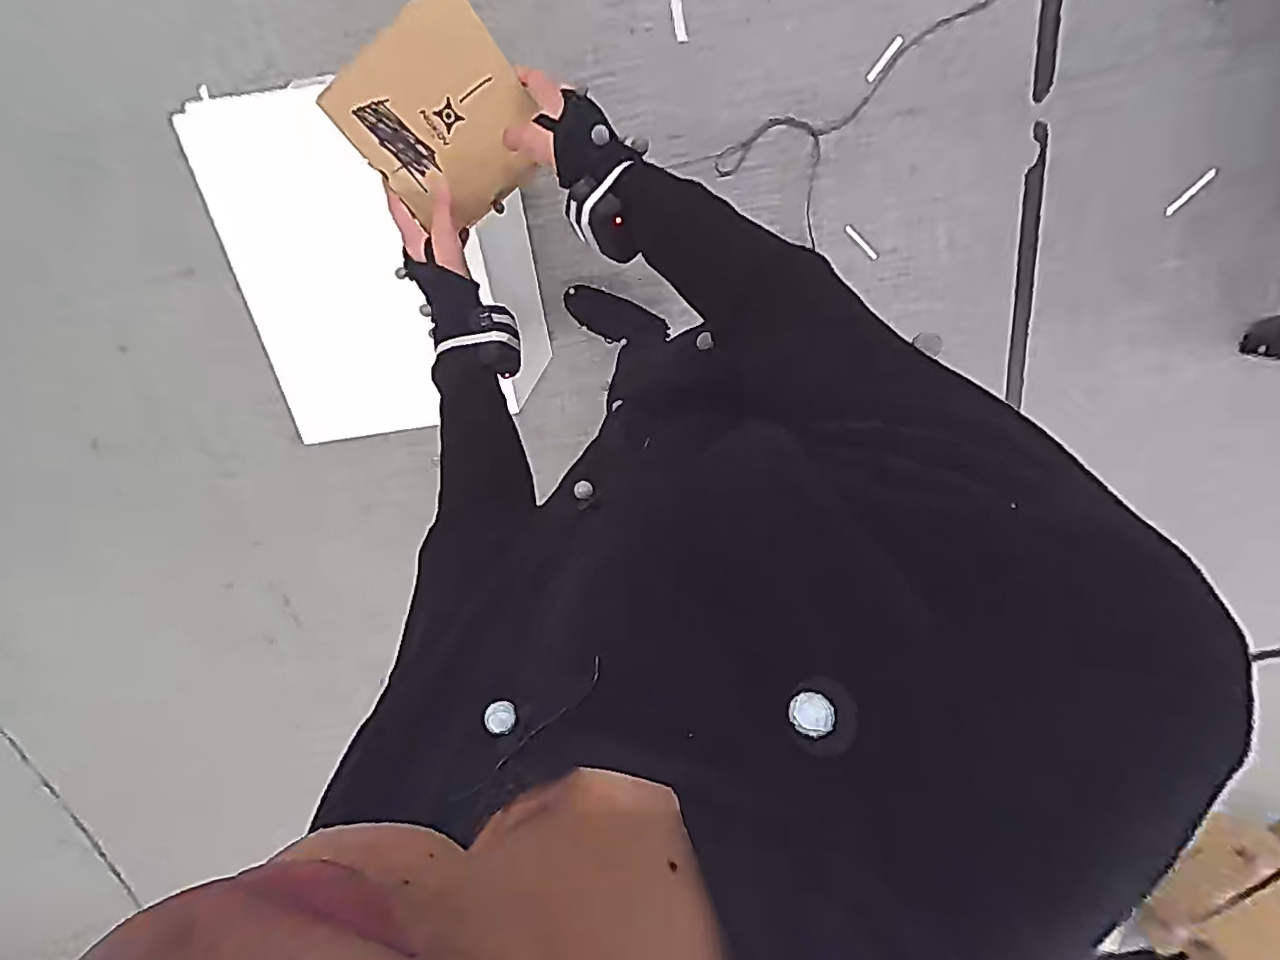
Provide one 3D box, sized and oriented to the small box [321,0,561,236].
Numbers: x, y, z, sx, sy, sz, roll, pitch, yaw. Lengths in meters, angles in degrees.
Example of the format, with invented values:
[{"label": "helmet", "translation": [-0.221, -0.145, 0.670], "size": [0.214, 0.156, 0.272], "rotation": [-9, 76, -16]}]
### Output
[{"label": "small box", "translation": [-0.204, -0.405, 0.609], "size": [0.179, 0.176, 0.168], "rotation": [-35, 119, 10]}]
